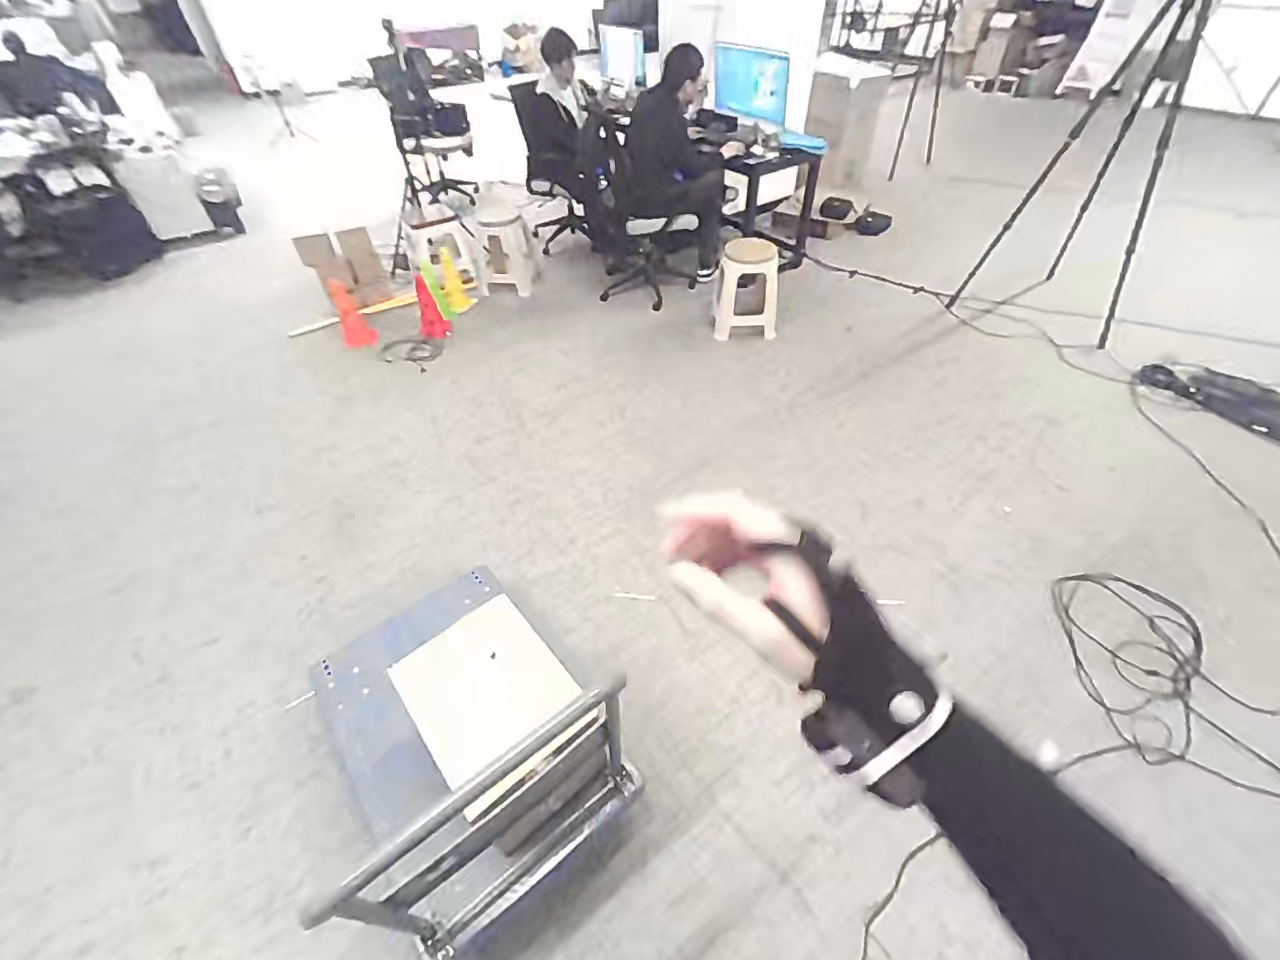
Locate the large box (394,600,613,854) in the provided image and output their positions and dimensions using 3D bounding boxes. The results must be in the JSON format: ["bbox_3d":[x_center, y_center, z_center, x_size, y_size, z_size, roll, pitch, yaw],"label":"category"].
[{"bbox_3d":[-0.314,0.582,1.300,0.320,0.320,0.408,-32,51,-27],"label":"large box"}]
